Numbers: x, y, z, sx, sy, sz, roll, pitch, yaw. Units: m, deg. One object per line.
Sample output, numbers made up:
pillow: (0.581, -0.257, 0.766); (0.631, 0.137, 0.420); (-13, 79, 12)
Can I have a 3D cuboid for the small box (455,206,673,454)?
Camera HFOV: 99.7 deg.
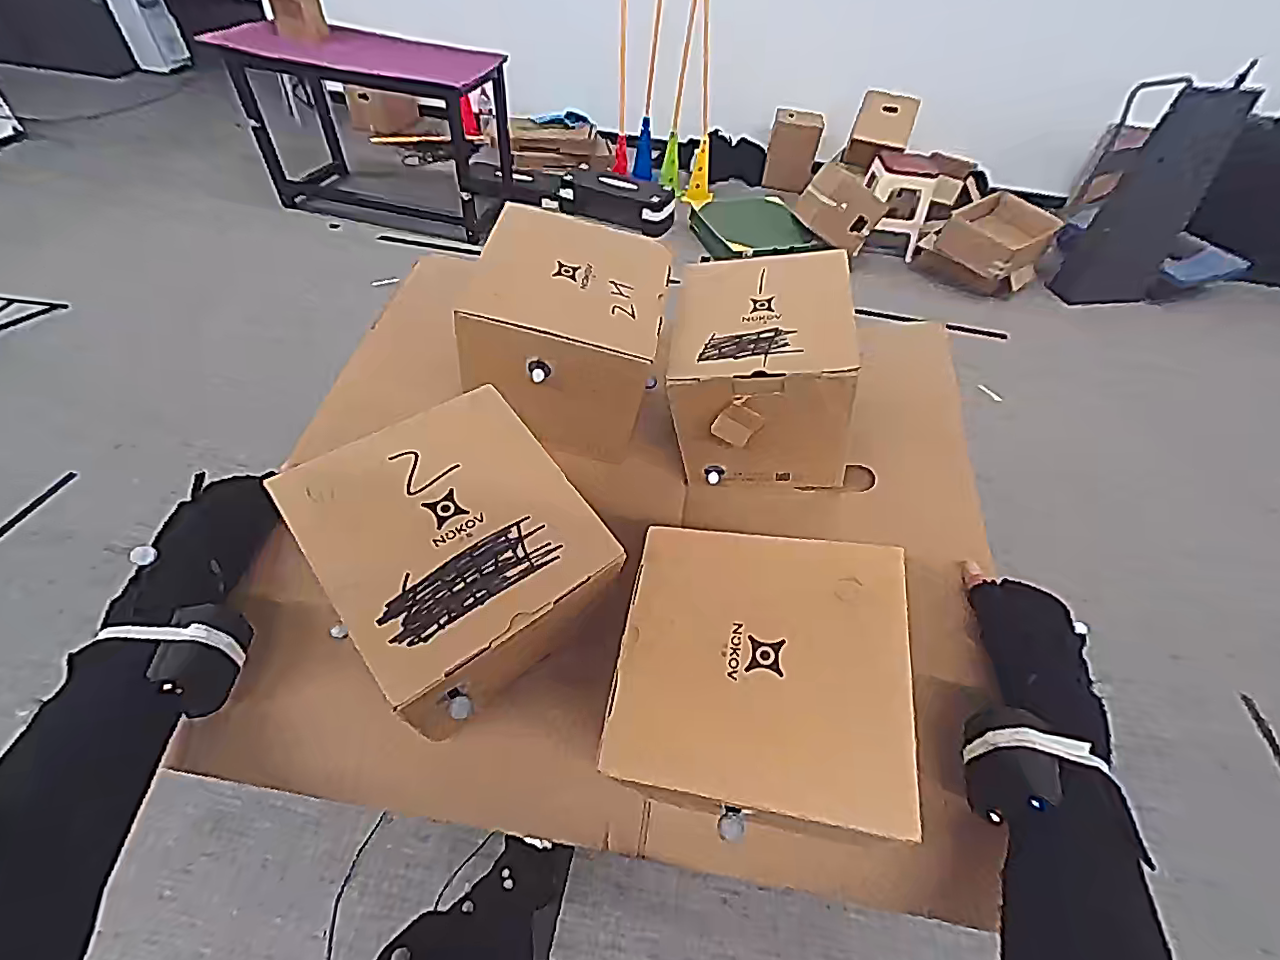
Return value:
small box: (-0.078, -0.149, 0.575); (0.179, 0.176, 0.168); (14, 58, -5)
